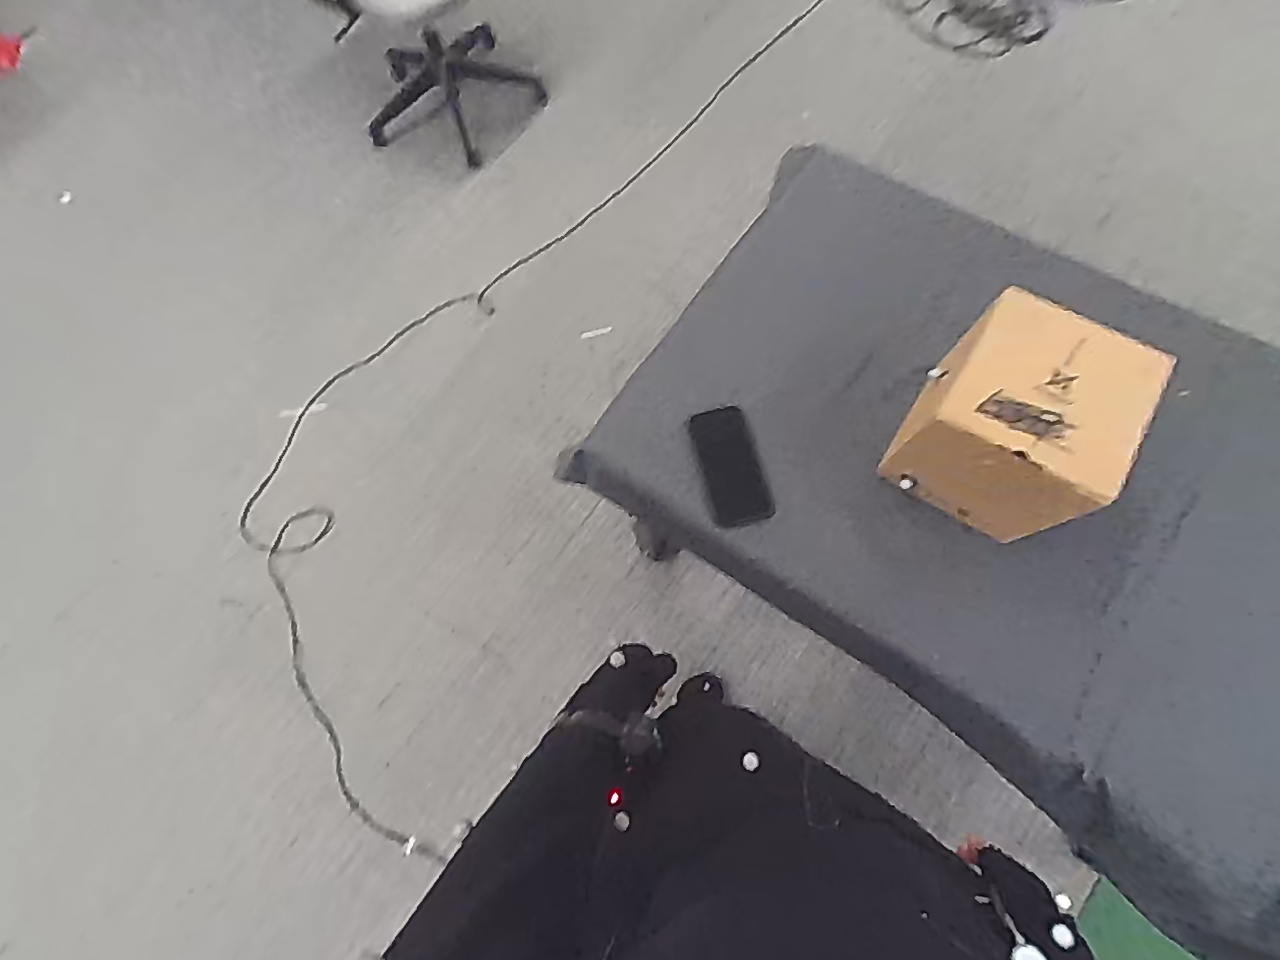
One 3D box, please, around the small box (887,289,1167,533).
[{"bbox_3d":[0.403,-0.064,0.599,0.168,0.176,0.179,32,75,13],"label":"small box"}]
